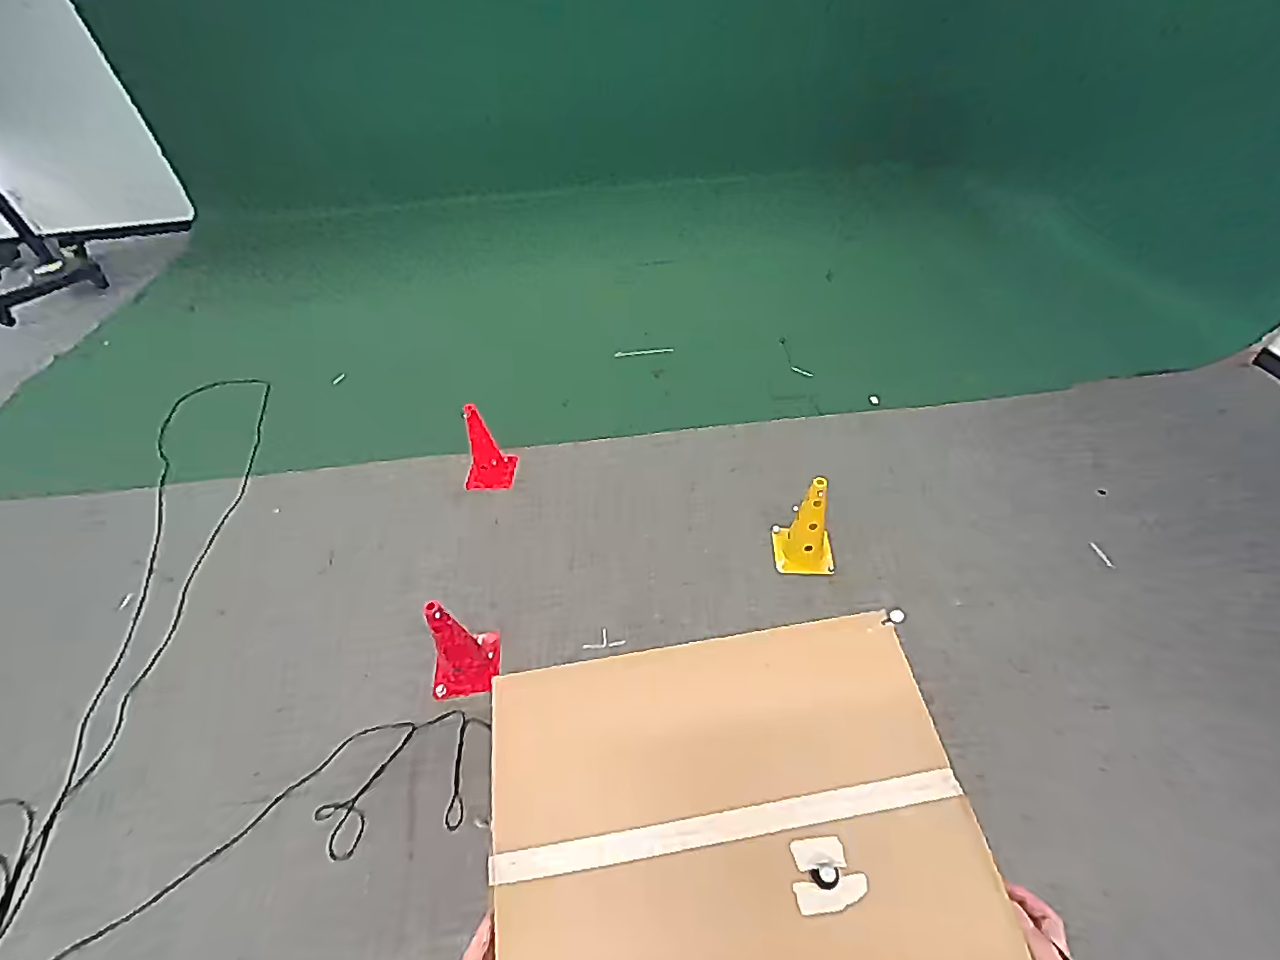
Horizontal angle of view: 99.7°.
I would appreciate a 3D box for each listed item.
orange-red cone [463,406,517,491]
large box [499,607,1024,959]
[{"bbox_3d":[-0.647,-0.144,2.182,0.199,0.360,0.198,-2,45,4],"label":"orange-red cone"},{"bbox_3d":[0.082,0.373,0.602,0.408,0.320,0.320,-9,58,-3],"label":"large box"}]
